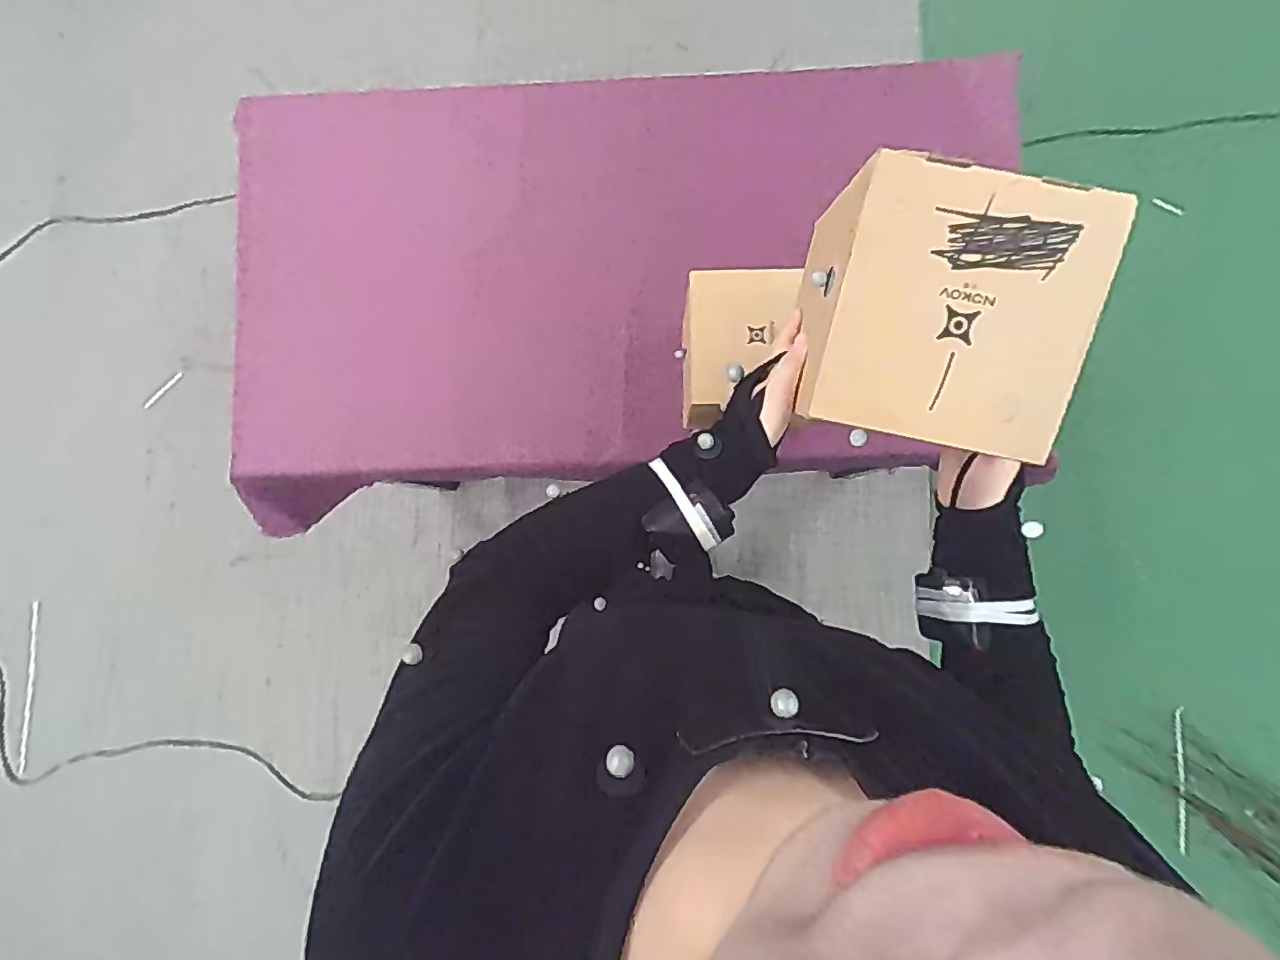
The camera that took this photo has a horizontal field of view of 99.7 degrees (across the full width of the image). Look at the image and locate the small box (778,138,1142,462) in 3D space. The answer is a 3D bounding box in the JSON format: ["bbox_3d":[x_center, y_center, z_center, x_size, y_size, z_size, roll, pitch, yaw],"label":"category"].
[{"bbox_3d":[0.218,-0.127,0.428,0.168,0.176,0.179,13,102,3],"label":"small box"}]

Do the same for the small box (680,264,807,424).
[{"bbox_3d":[0.143,-0.168,0.718,0.179,0.176,0.168,0,86,2],"label":"small box"}]
